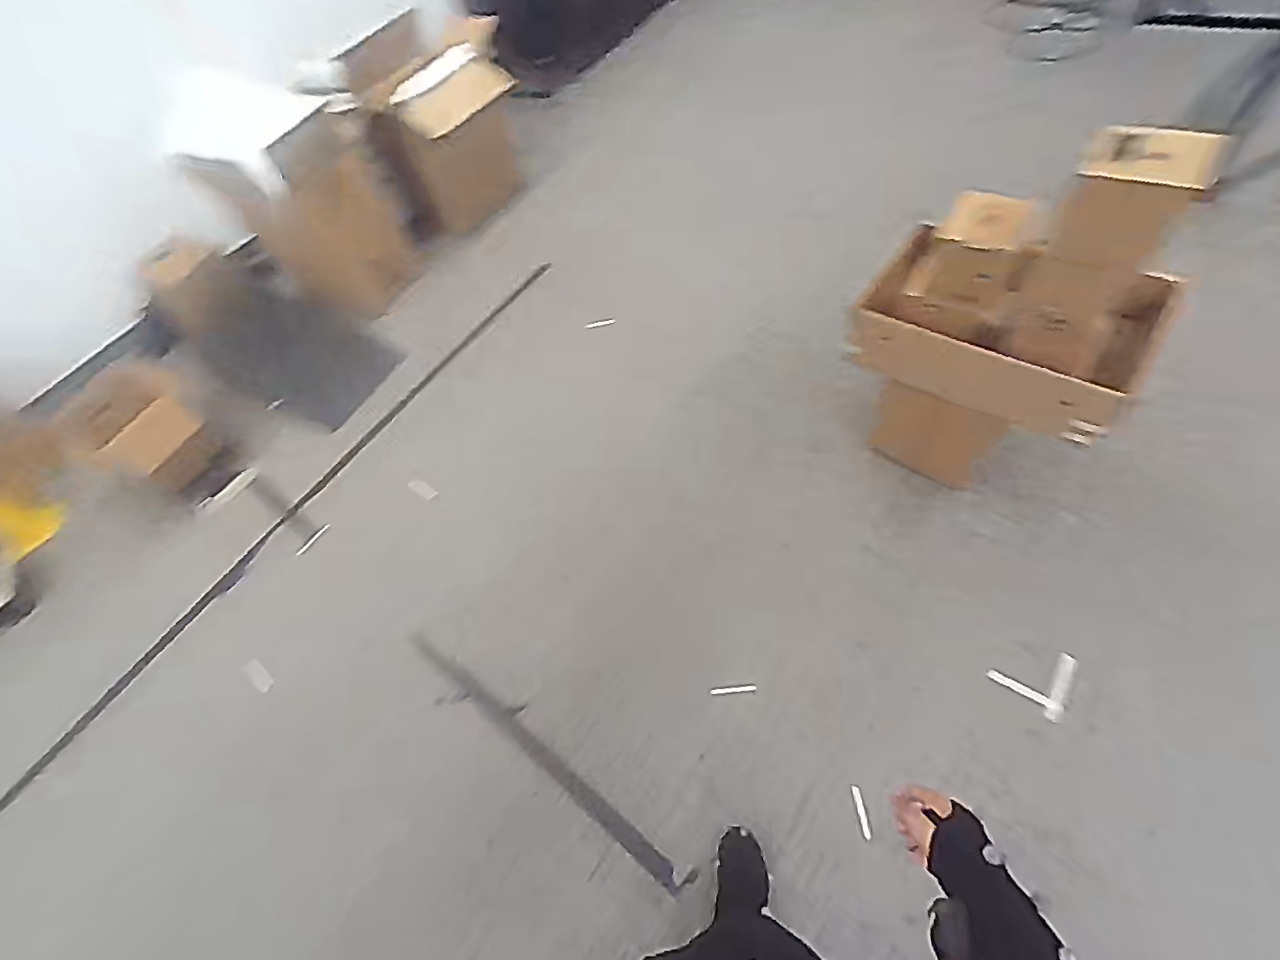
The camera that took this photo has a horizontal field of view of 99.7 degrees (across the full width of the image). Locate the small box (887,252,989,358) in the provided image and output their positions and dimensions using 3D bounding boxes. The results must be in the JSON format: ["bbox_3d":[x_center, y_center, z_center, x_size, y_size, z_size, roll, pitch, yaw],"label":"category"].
[{"bbox_3d":[0.760,-0.450,1.394,0.168,0.176,0.179,24,67,25],"label":"small box"}]
